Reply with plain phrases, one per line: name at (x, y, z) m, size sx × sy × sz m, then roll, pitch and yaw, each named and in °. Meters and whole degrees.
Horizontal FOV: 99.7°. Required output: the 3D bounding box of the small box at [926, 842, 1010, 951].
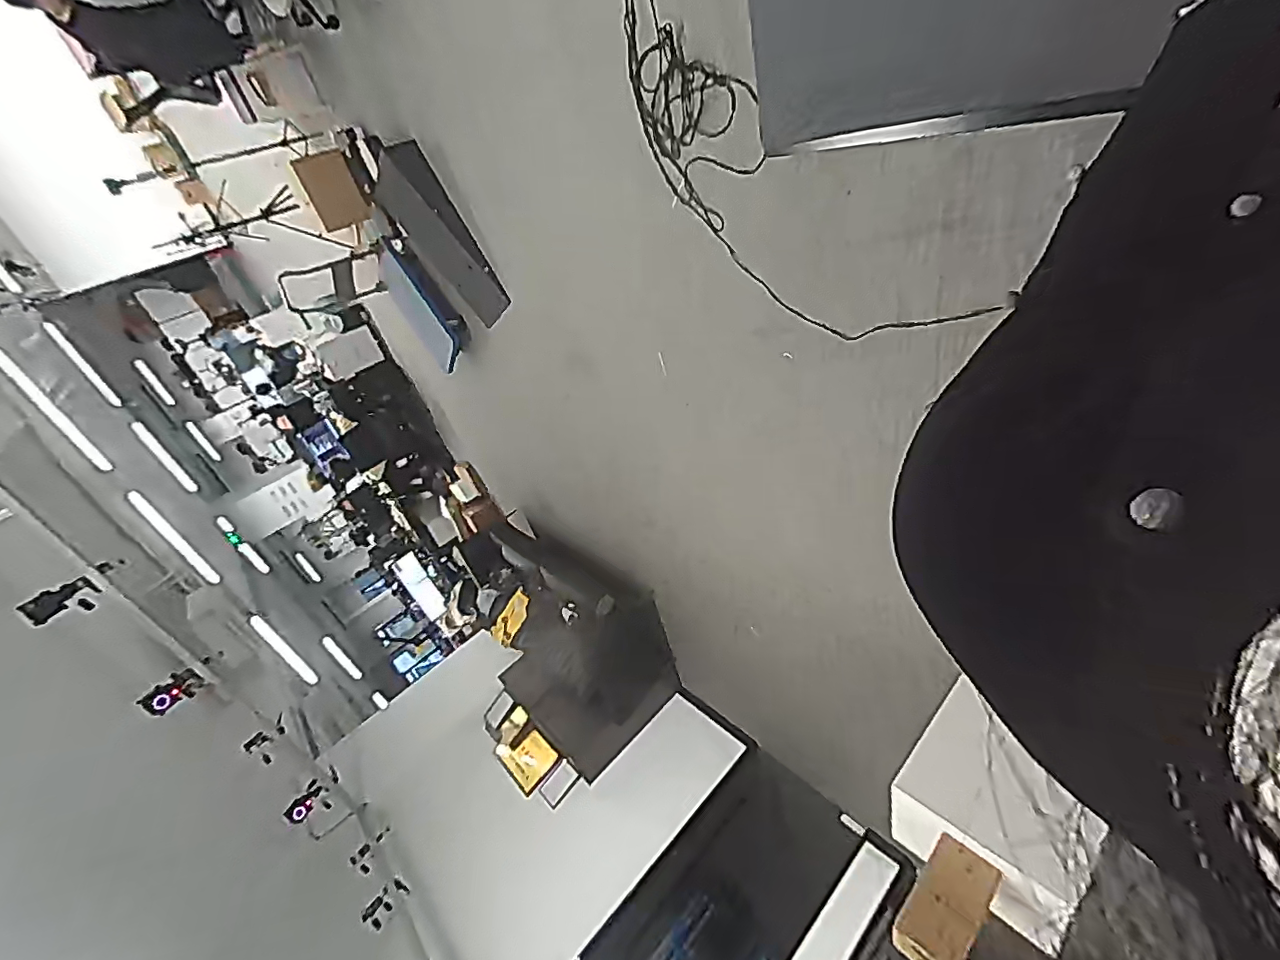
small box at (0.989, 1.251, 1.633) m, size 0.168 × 0.176 × 0.179 m, roll 22°, pitch 140°, yaw 46°
